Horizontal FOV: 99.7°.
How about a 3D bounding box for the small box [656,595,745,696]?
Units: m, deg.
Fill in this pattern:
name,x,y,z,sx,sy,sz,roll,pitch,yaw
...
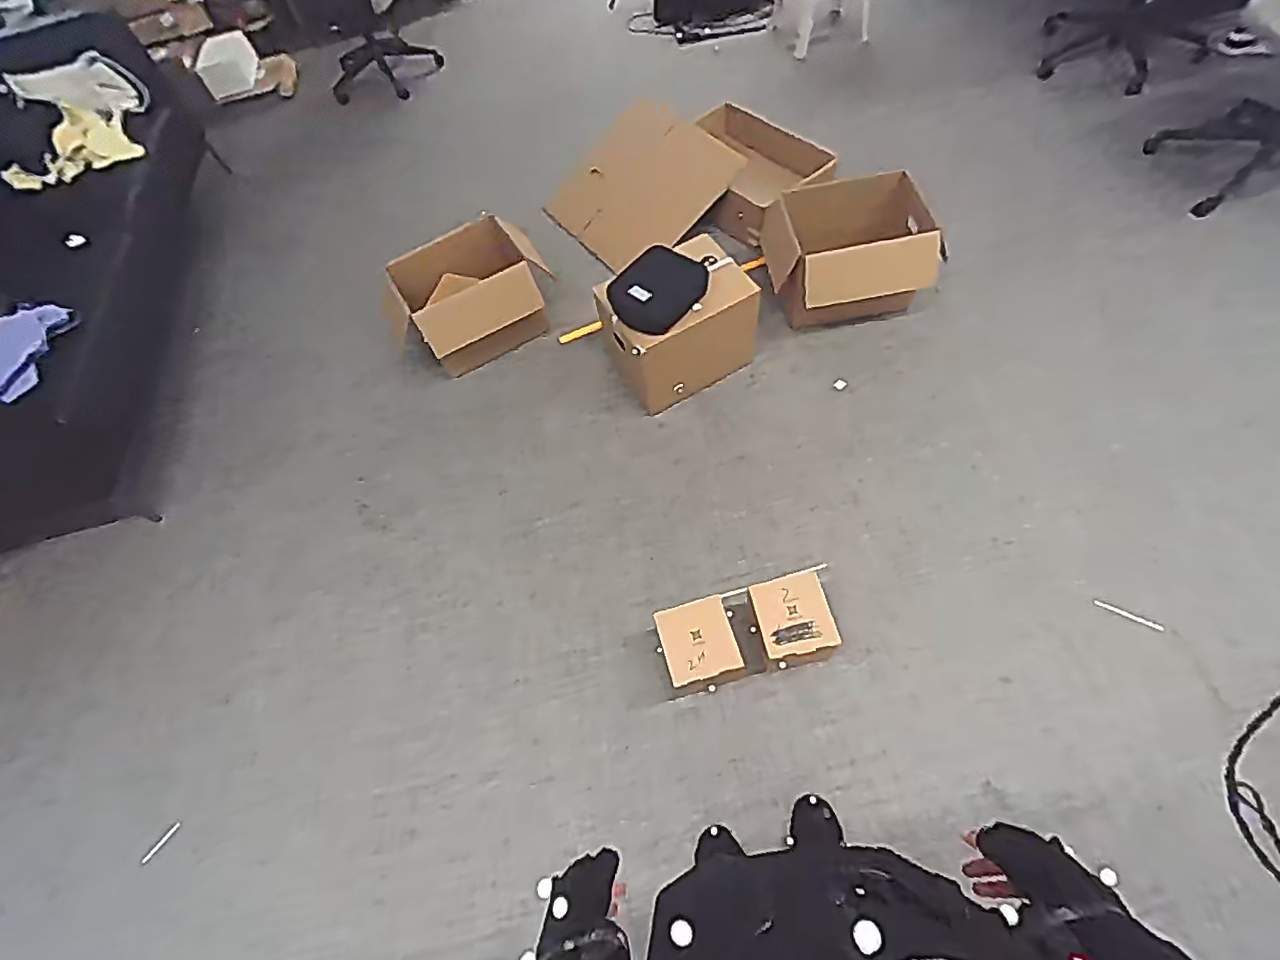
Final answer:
name,x,y,z,sx,sy,sz,roll,pitch,yaw
small box,0.144,0.404,1.307,0.168,0.176,0.179,-18,60,0
